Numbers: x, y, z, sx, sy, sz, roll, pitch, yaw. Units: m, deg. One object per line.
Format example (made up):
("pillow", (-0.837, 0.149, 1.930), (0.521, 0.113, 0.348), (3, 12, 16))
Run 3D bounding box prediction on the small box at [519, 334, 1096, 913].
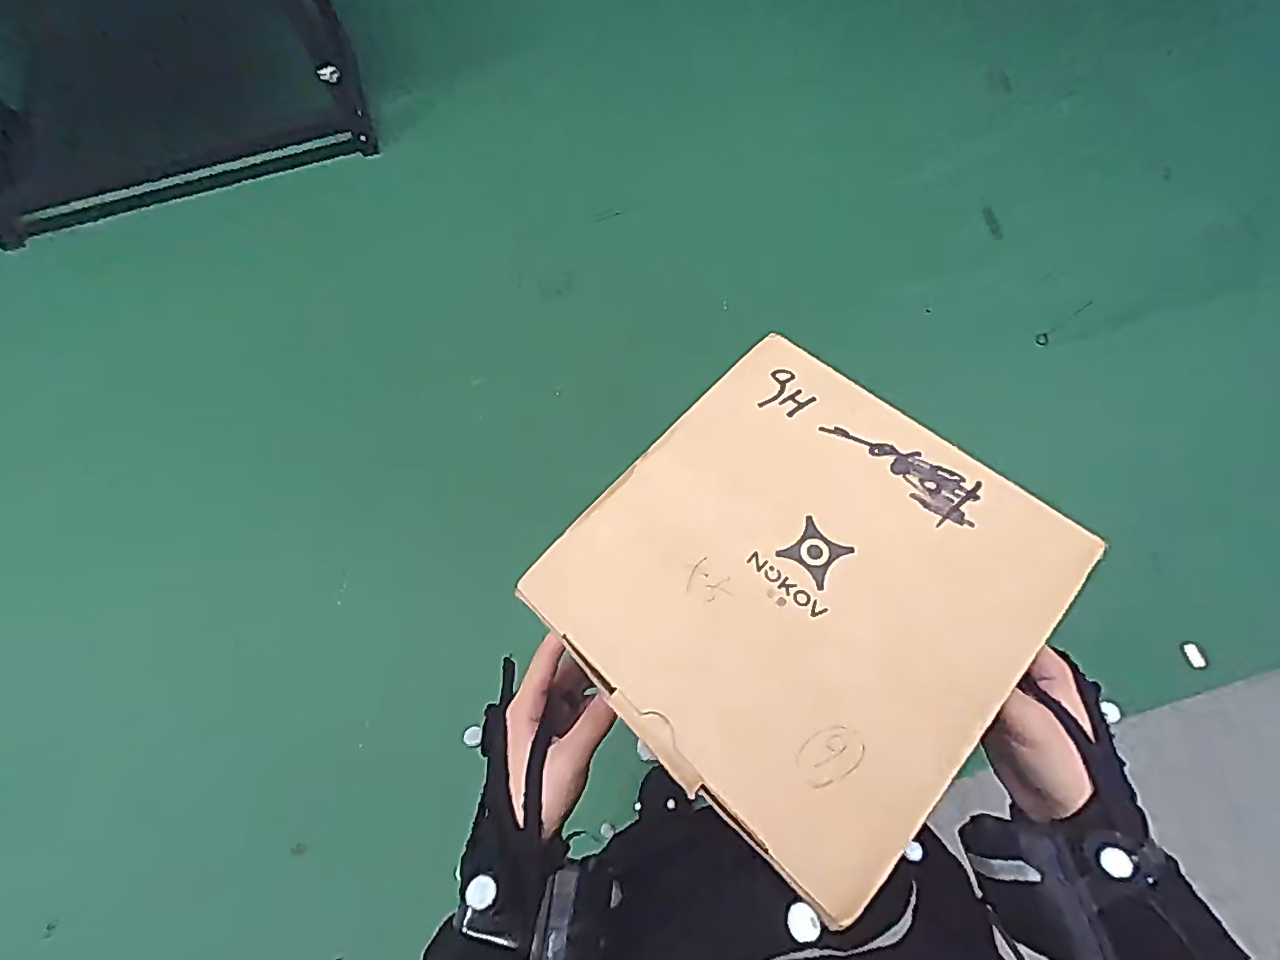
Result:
("small box", (0.072, 0.067, 0.293), (0.168, 0.176, 0.179), (41, 76, 20))
